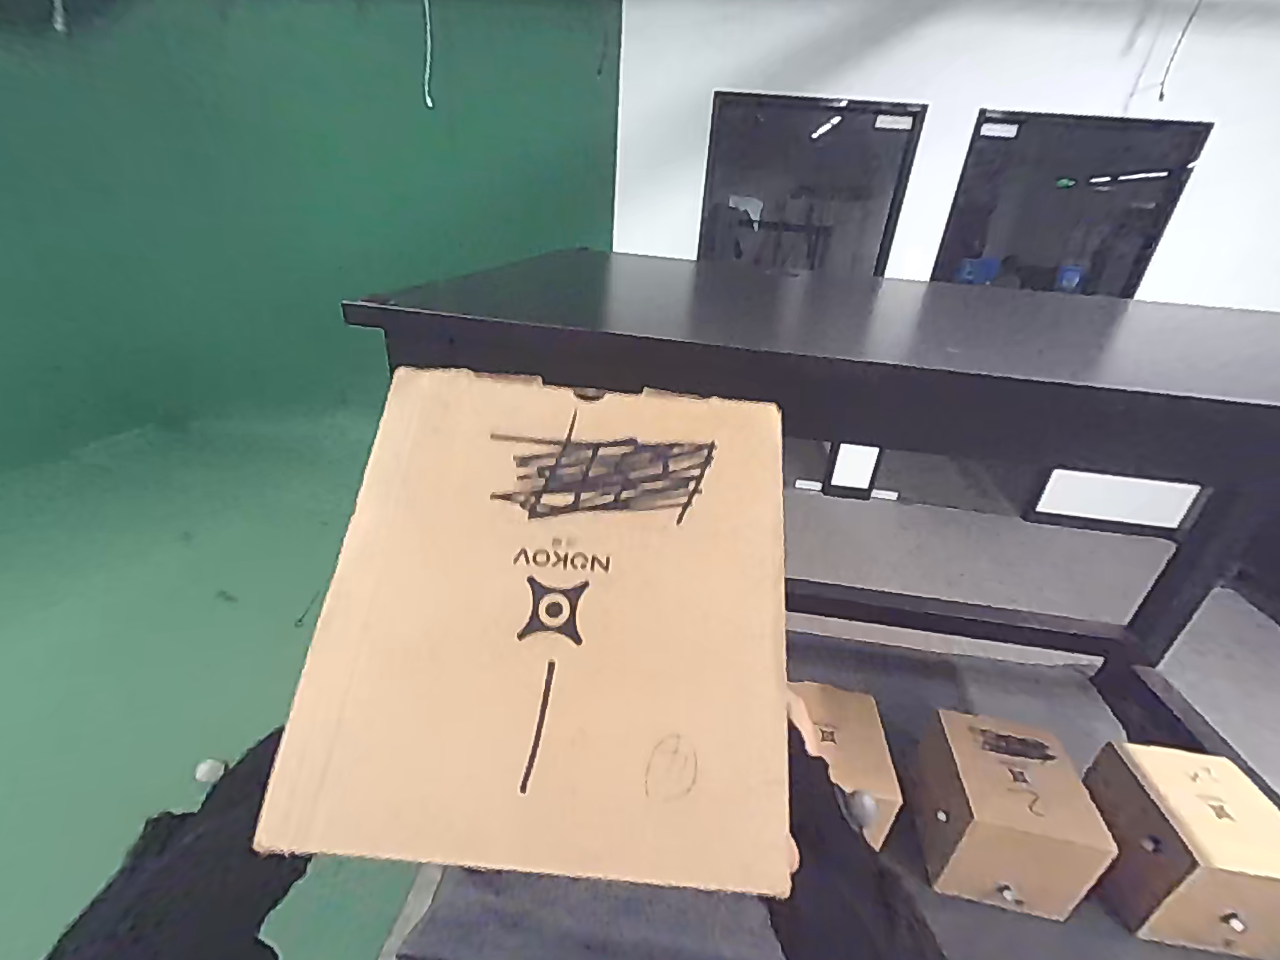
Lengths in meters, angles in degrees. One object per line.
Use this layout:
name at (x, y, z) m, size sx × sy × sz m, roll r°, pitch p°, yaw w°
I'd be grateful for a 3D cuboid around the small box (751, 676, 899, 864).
small box at (0.262, 0.432, 0.811) m, size 0.168 × 0.176 × 0.179 m, roll 7°, pitch 27°, yaw 6°

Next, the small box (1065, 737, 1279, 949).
small box at (0.747, 0.497, 0.747) m, size 0.168 × 0.176 × 0.179 m, roll 7°, pitch 26°, yaw 5°
